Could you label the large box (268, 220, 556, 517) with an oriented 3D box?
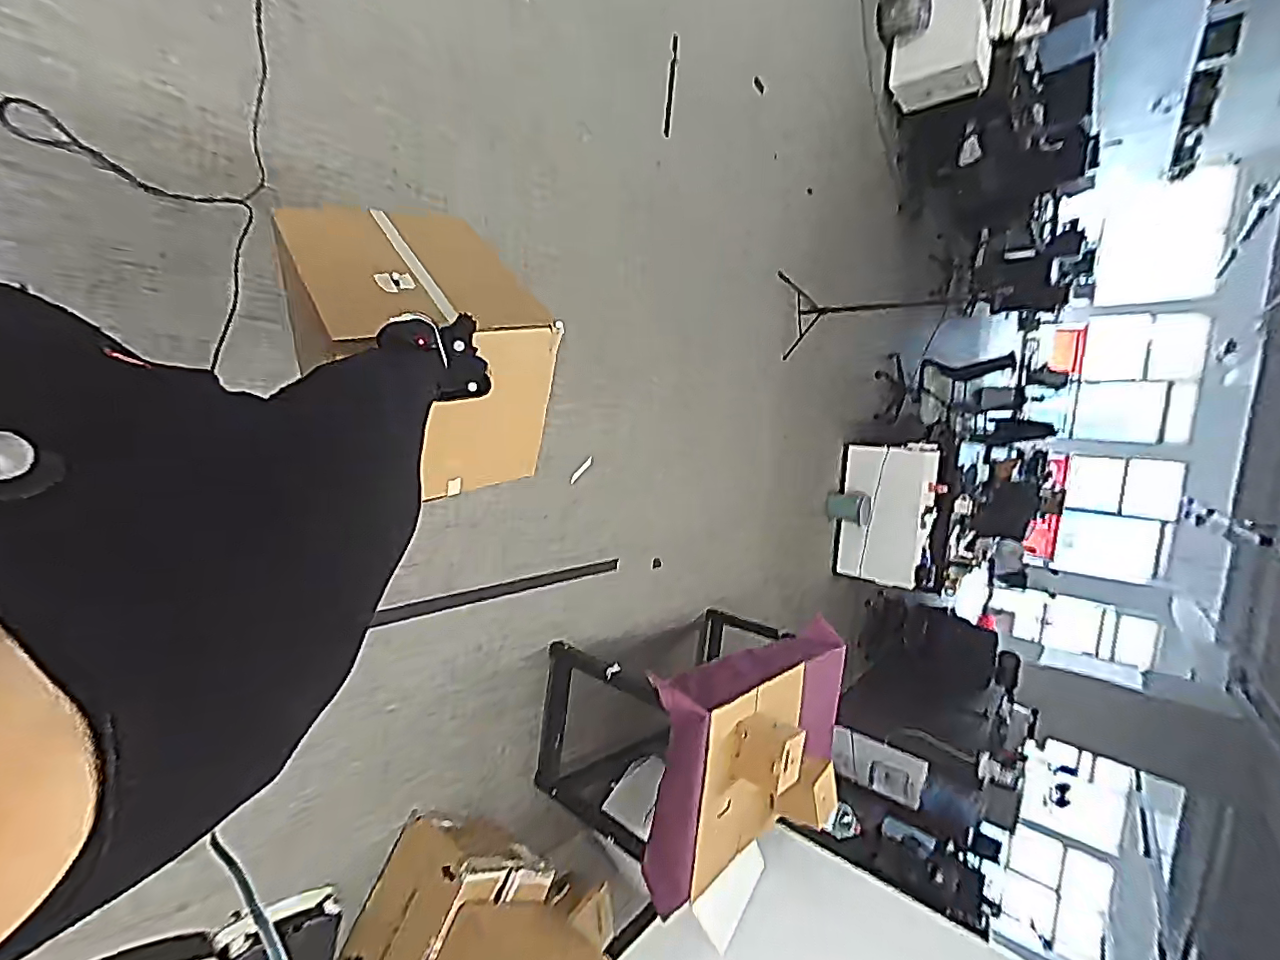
[{"bbox_3d":[-0.401,-0.207,0.944,0.320,0.408,0.320,-17,143,-35],"label":"large box"}]
